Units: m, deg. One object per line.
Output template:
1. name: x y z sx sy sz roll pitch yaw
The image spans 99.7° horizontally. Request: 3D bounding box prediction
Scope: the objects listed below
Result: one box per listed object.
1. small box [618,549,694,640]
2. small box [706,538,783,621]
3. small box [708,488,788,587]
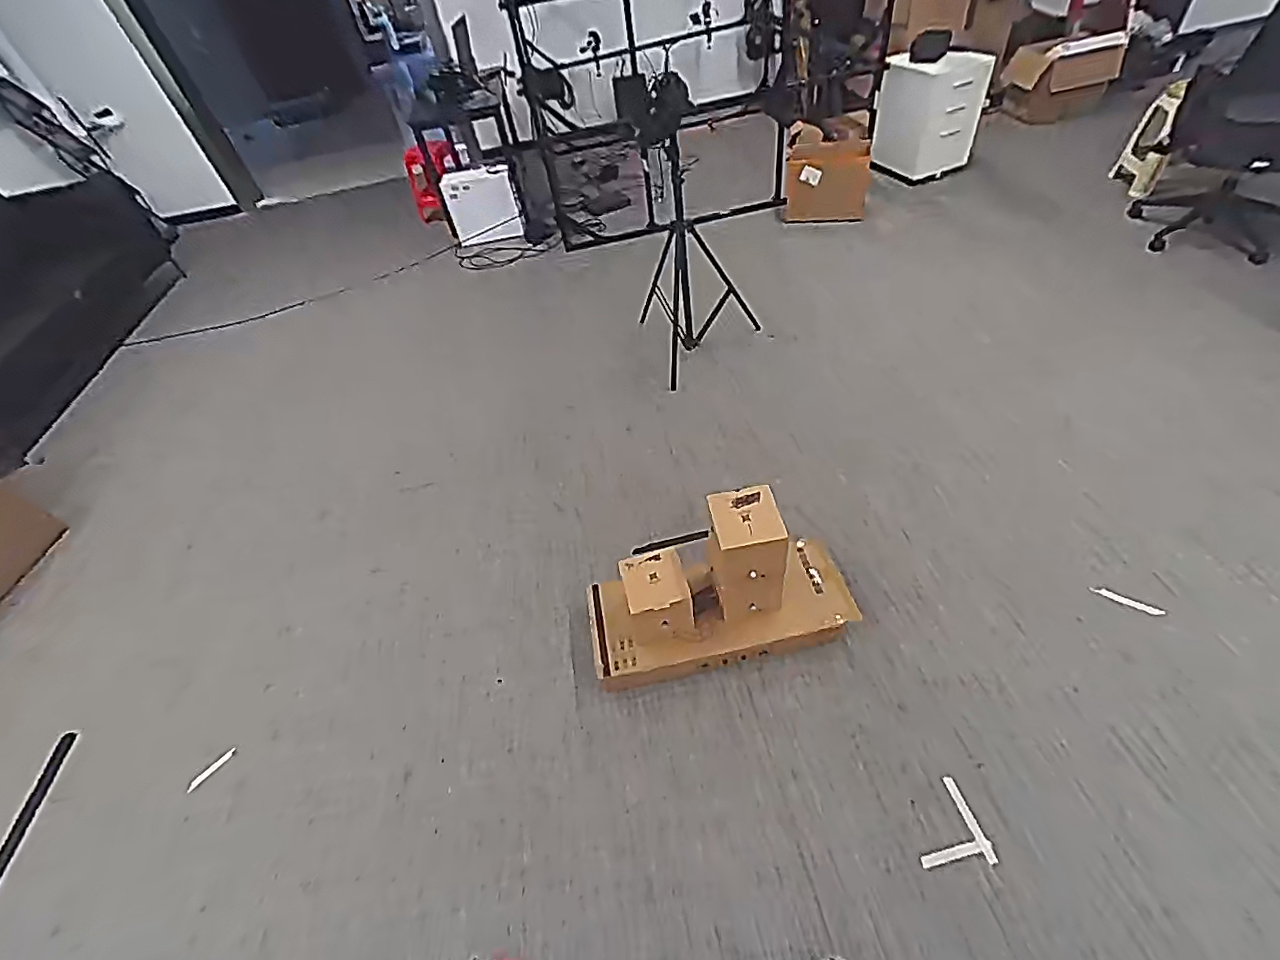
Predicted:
1. small box: 0.047 0.324 1.499 0.168 0.176 0.179 -15 47 -3
2. small box: 0.287 0.264 1.510 0.168 0.176 0.179 -13 46 -1
3. small box: 0.273 0.149 1.394 0.168 0.176 0.179 -11 46 1
